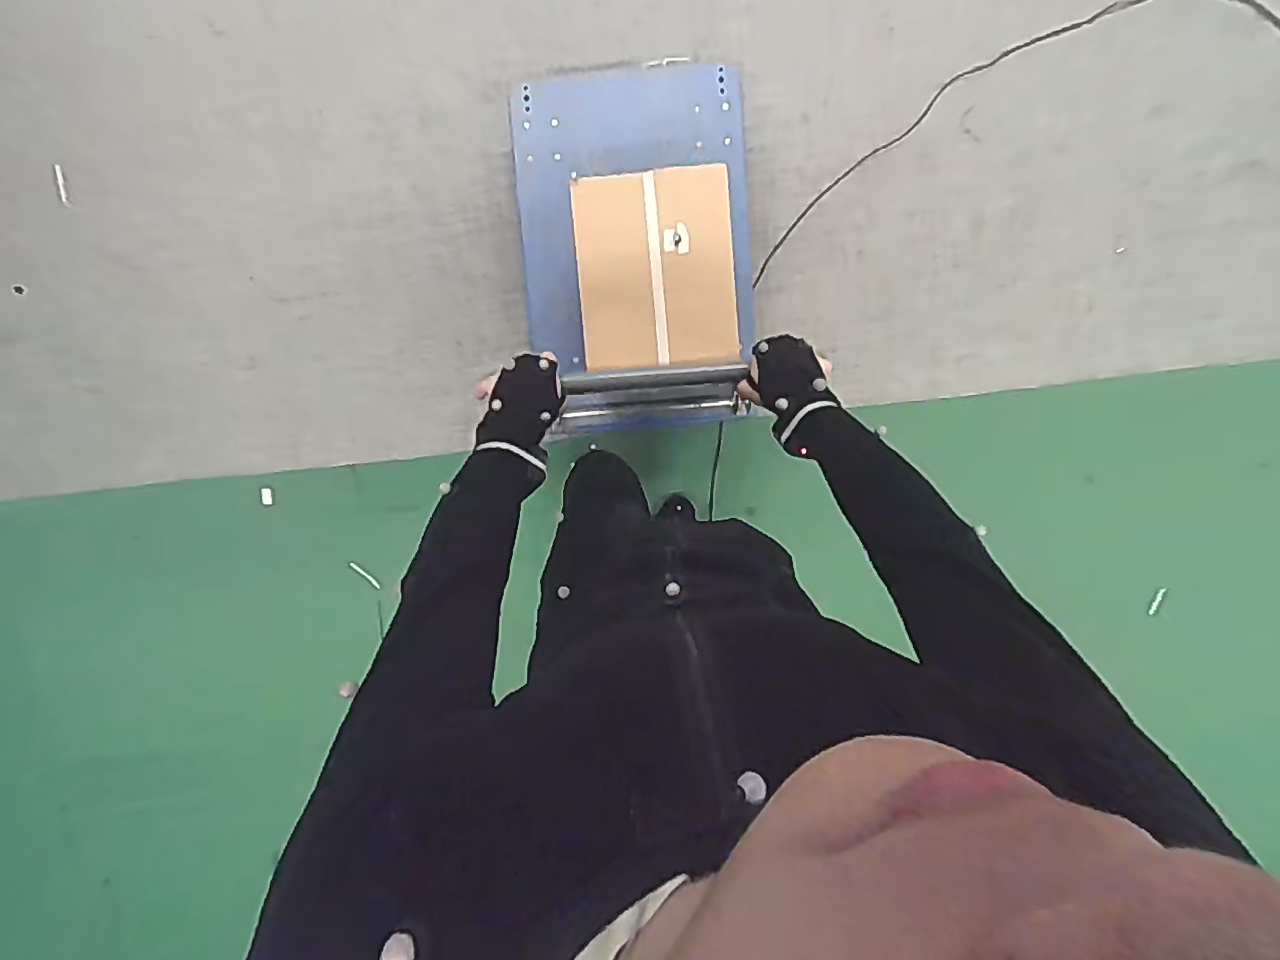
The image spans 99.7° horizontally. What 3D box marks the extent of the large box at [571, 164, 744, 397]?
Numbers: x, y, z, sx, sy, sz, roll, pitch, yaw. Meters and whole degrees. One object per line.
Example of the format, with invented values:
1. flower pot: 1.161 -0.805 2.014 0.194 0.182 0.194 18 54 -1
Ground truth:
1. large box: 0.040 -0.413 1.215 0.320 0.320 0.408 -5 94 1
